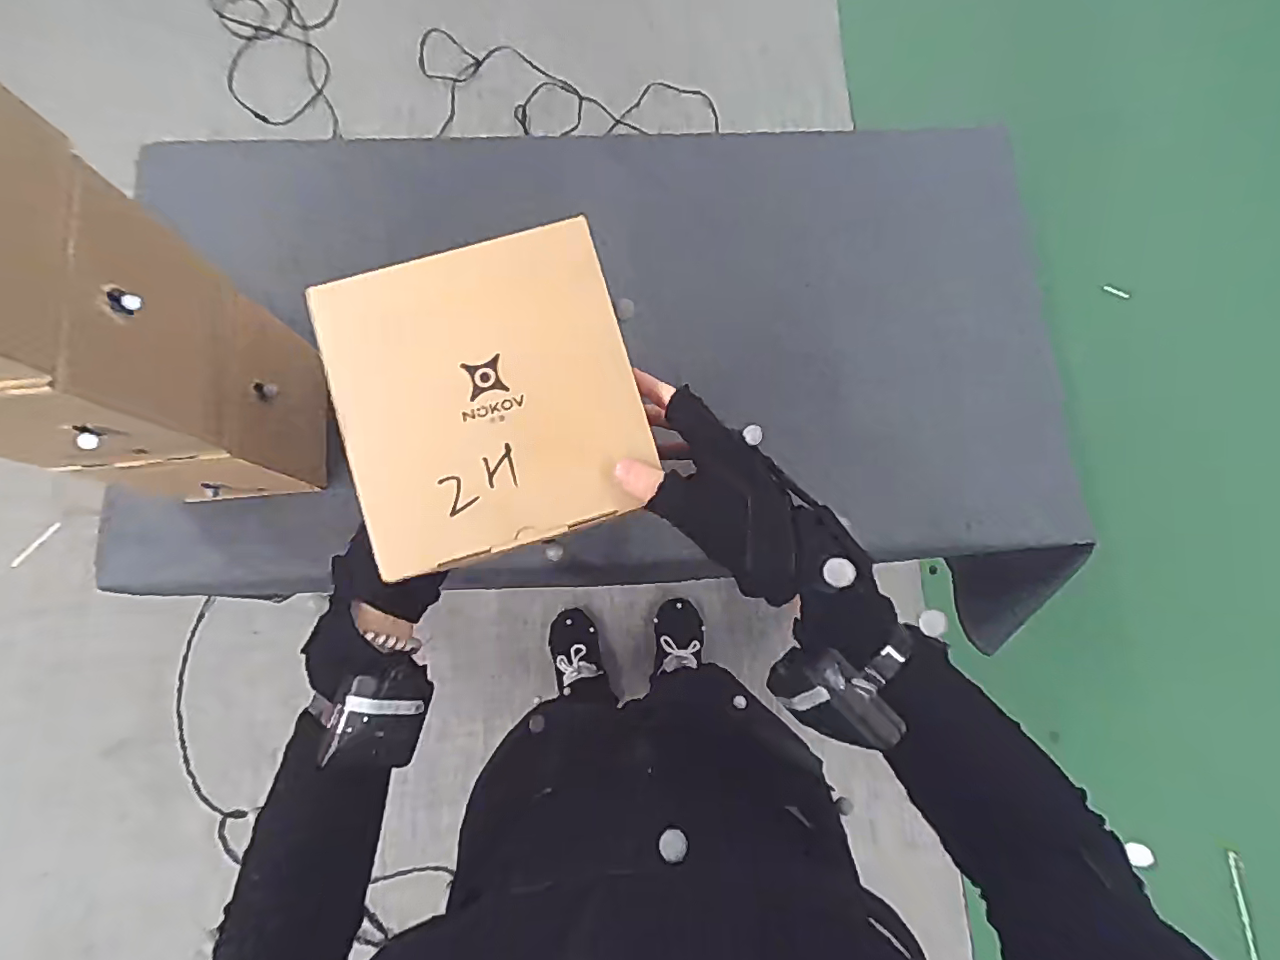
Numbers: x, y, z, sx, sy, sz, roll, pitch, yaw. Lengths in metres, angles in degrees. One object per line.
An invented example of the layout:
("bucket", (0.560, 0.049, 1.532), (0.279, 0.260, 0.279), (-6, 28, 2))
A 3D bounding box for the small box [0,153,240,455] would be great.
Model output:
("small box", (-0.461, -0.121, 0.434), (0.168, 0.176, 0.179), (-5, 79, -4))

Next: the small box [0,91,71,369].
("small box", (-0.456, -0.160, 0.275), (0.168, 0.176, 0.179), (-6, 79, -5))

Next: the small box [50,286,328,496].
("small box", (-0.468, -0.087, 0.593), (0.168, 0.176, 0.179), (-5, 79, -3))

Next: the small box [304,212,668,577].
("small box", (-0.089, -0.043, 0.378), (0.168, 0.176, 0.179), (-17, 86, -3))
